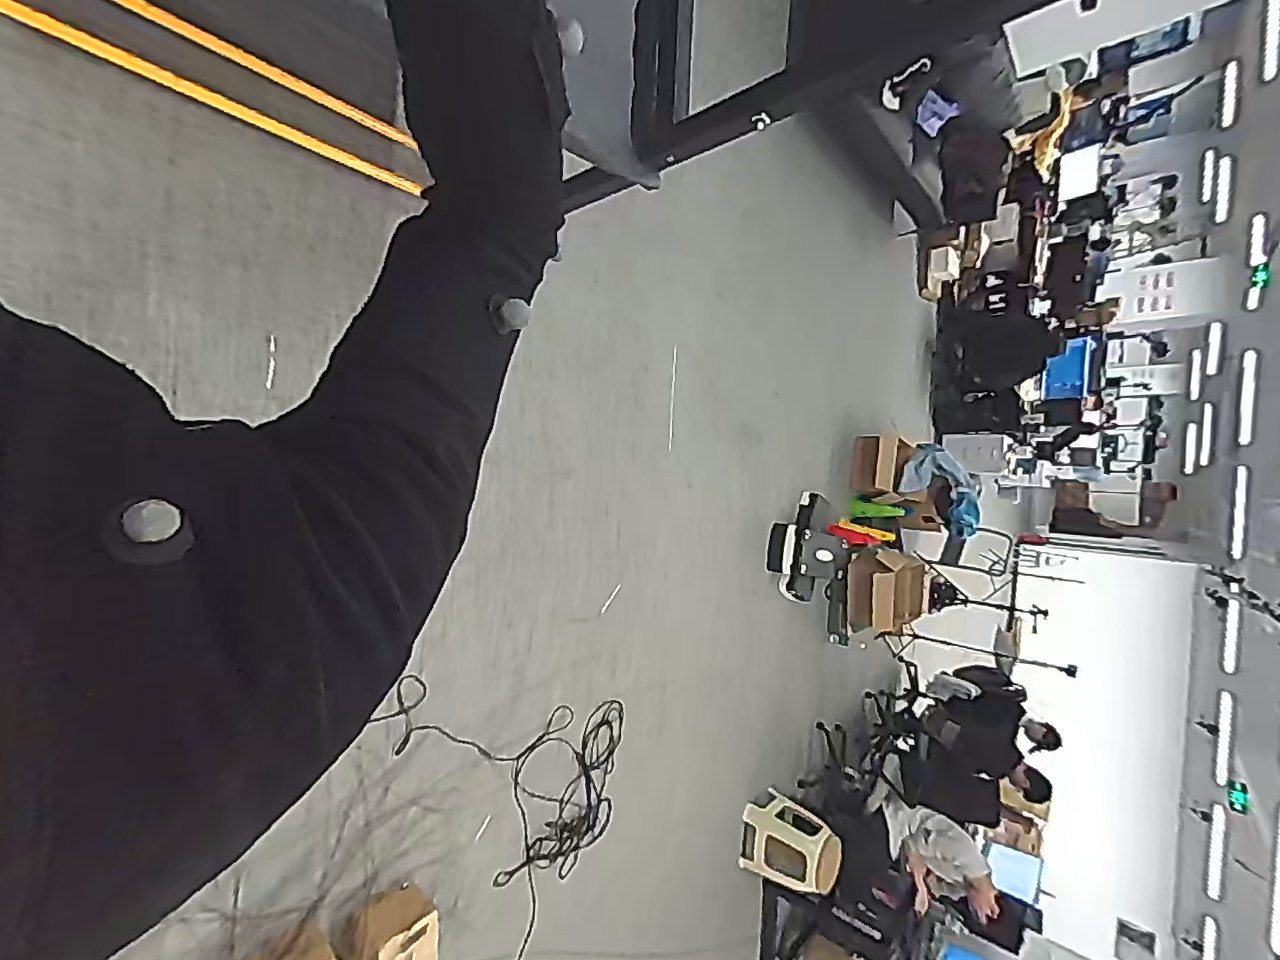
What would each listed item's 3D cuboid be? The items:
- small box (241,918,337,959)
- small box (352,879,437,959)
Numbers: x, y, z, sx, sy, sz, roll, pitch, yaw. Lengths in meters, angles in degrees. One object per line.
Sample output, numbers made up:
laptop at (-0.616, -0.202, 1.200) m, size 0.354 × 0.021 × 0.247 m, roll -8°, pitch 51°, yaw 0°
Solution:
small box at (-0.853, 1.236, 1.313) m, size 0.168 × 0.176 × 0.179 m, roll -6°, pitch 97°, yaw -49°
small box at (-0.685, 1.261, 1.505) m, size 0.168 × 0.176 × 0.179 m, roll -1°, pitch 95°, yaw -49°
